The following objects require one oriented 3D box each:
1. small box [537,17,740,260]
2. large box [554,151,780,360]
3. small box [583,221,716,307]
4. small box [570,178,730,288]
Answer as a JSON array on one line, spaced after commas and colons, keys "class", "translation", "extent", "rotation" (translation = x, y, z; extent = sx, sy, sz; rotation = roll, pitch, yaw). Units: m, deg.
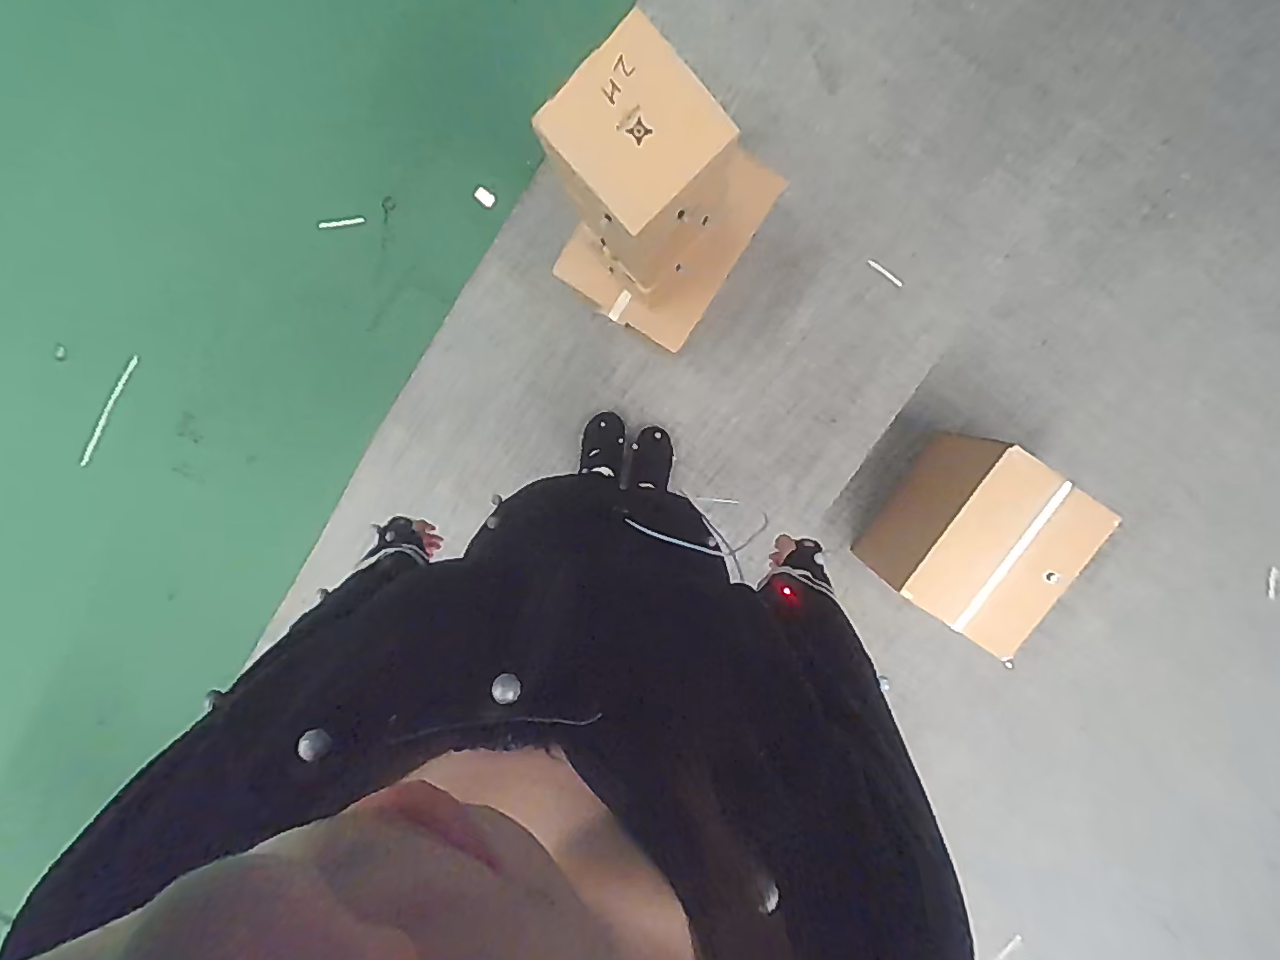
[{"class": "small box", "translation": [0.001, -0.407, 0.689], "extent": [0.168, 0.176, 0.179], "rotation": [-42, 96, 7]}, {"class": "large box", "translation": [0.053, -0.534, 1.245], "extent": [0.320, 0.320, 0.408], "rotation": [32, 98, -5]}, {"class": "small box", "translation": [0.016, -0.452, 1.013], "extent": [0.168, 0.176, 0.179], "rotation": [43, 98, -6]}, {"class": "small box", "translation": [0.015, -0.434, 0.851], "extent": [0.179, 0.176, 0.168], "rotation": [-42, 96, 9]}]
